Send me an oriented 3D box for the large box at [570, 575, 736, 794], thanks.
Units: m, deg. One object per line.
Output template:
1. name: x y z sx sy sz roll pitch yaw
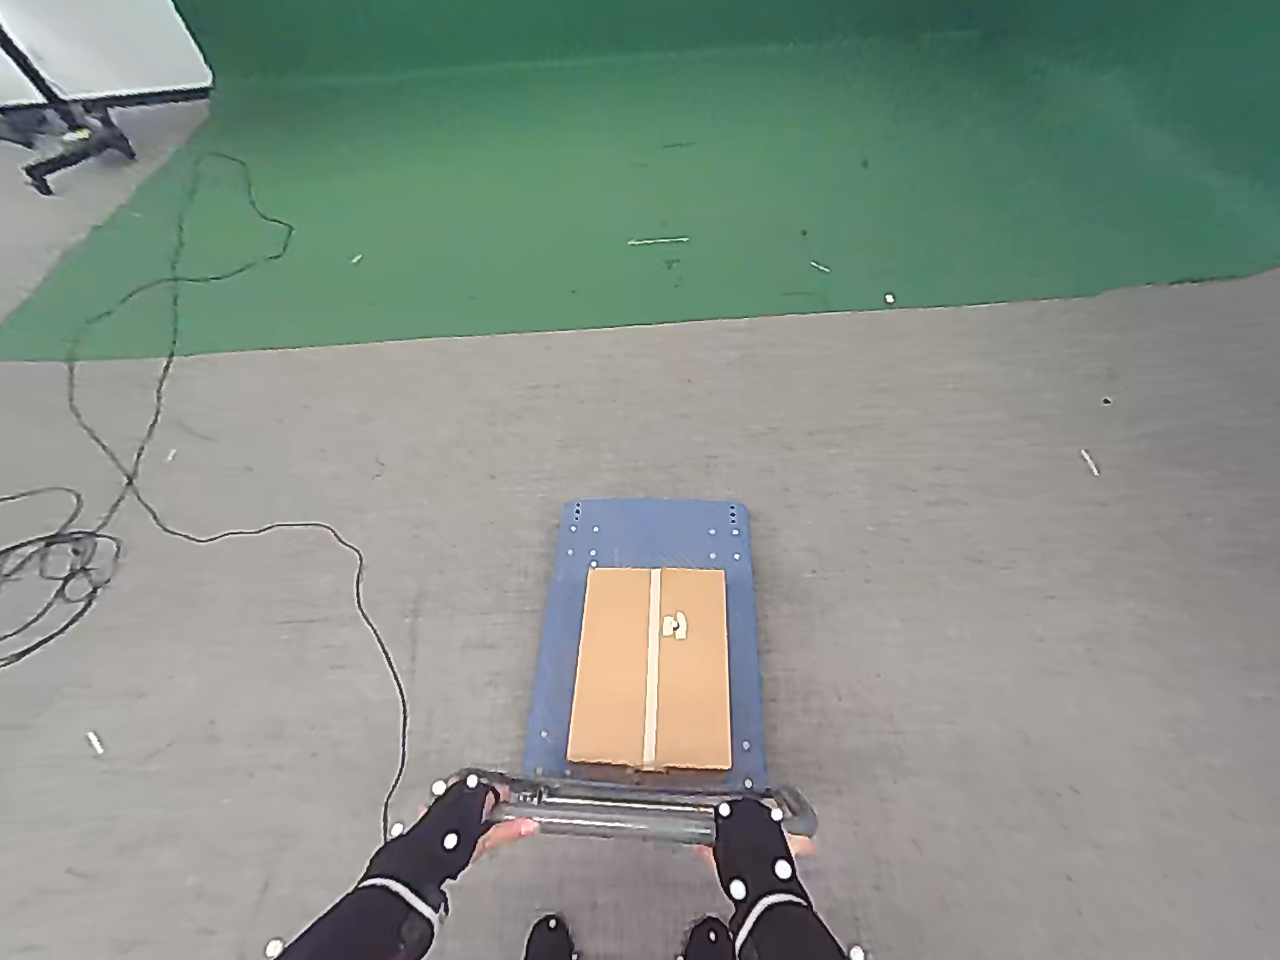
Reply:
1. large box: 0.039 0.467 1.228 0.320 0.320 0.408 1 54 4
